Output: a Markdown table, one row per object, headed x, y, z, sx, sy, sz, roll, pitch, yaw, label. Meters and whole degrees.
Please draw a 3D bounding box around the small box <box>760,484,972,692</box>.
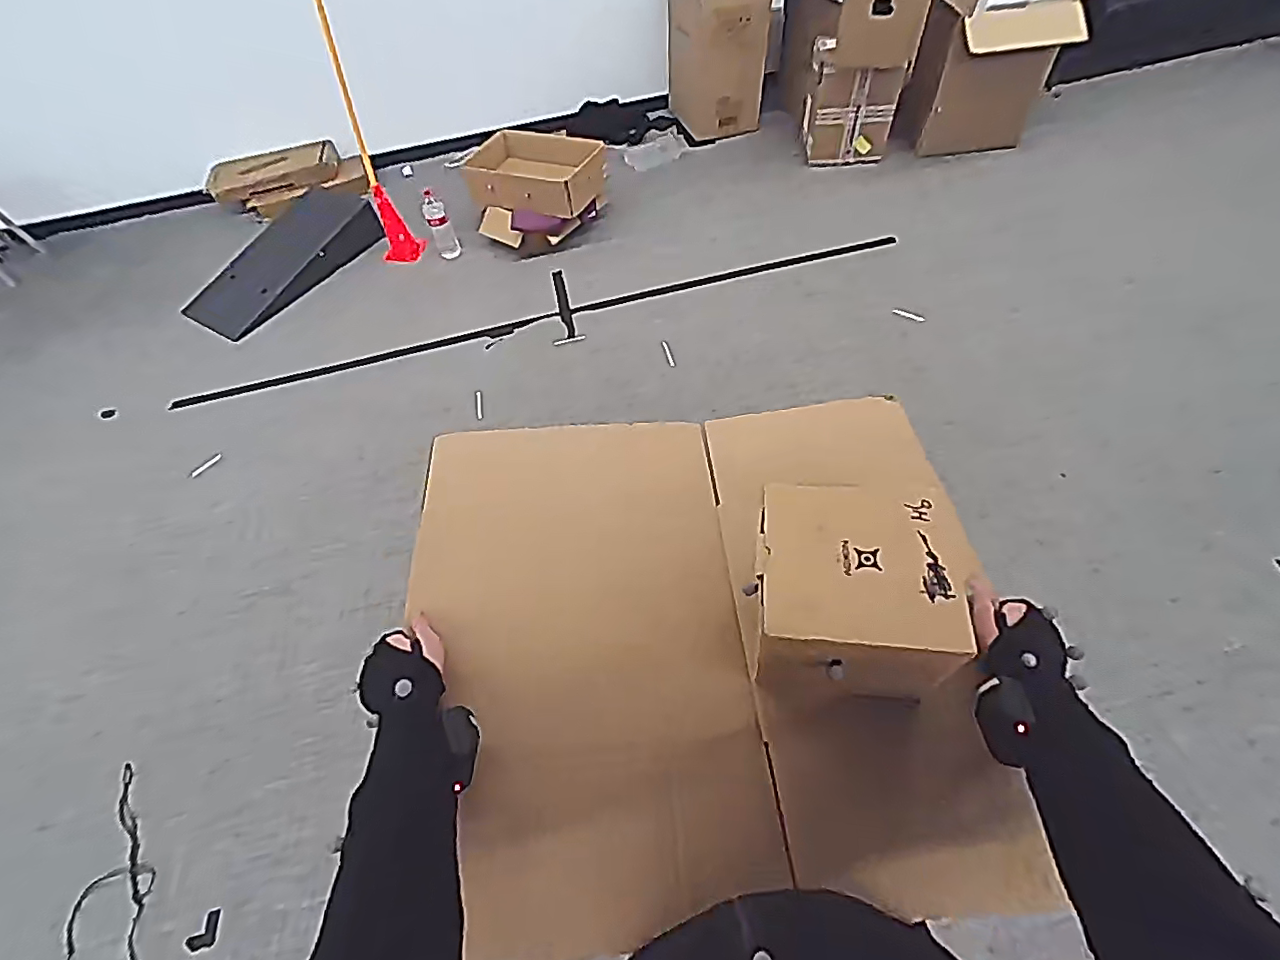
| x | y | z | sx | sy | sz | roll | pitch | yaw | label |
| --- | --- | --- | --- | --- | --- | --- | --- | --- | --- |
| 0.220 | 0.119 | 0.578 | 0.179 | 0.176 | 0.168 | 1 | 57 | 12 | small box |
